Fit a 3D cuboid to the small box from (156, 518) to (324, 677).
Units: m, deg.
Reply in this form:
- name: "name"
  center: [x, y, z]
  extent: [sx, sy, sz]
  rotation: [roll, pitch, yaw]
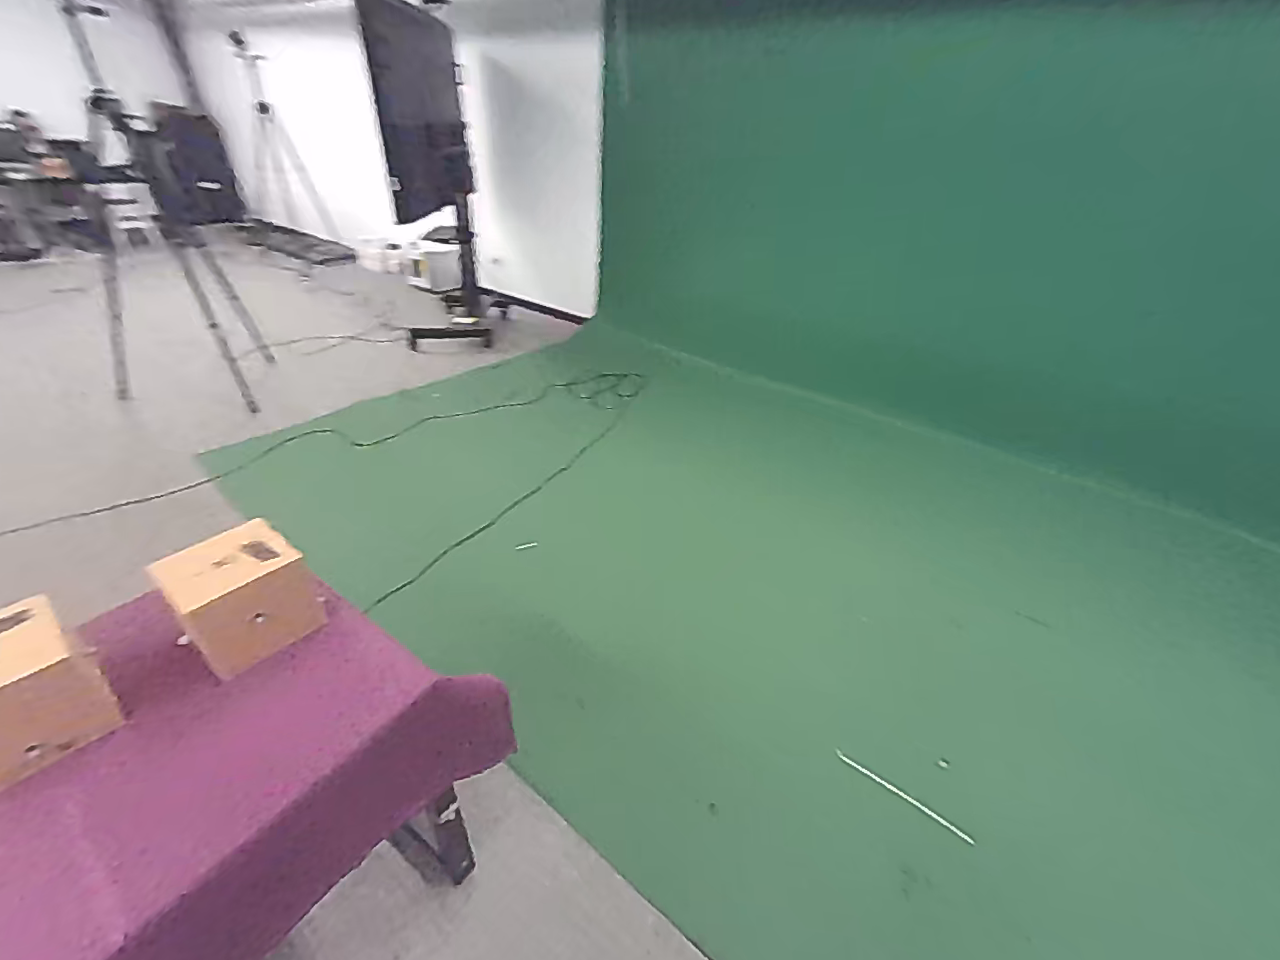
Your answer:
- name: "small box"
  center: [-0.691, 0.204, 0.957]
  extent: [0.168, 0.176, 0.179]
  rotation: [25, 40, 29]
